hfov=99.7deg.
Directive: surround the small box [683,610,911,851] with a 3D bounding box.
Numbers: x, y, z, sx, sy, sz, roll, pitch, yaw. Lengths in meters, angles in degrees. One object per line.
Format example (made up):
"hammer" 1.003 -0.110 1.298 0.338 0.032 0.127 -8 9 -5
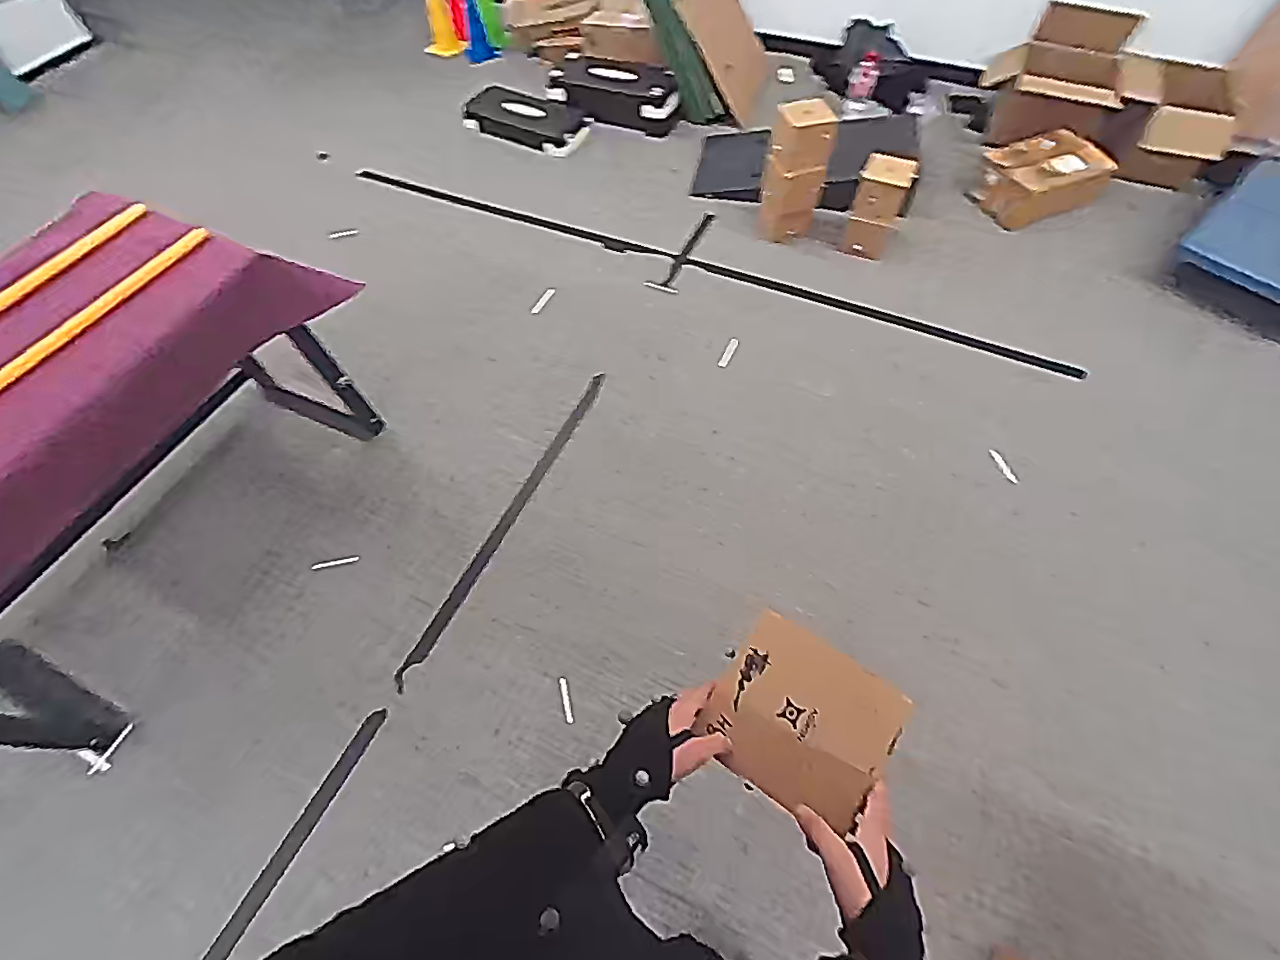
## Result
"small box" 0.174 0.275 0.629 0.179 0.176 0.168 31 78 20
